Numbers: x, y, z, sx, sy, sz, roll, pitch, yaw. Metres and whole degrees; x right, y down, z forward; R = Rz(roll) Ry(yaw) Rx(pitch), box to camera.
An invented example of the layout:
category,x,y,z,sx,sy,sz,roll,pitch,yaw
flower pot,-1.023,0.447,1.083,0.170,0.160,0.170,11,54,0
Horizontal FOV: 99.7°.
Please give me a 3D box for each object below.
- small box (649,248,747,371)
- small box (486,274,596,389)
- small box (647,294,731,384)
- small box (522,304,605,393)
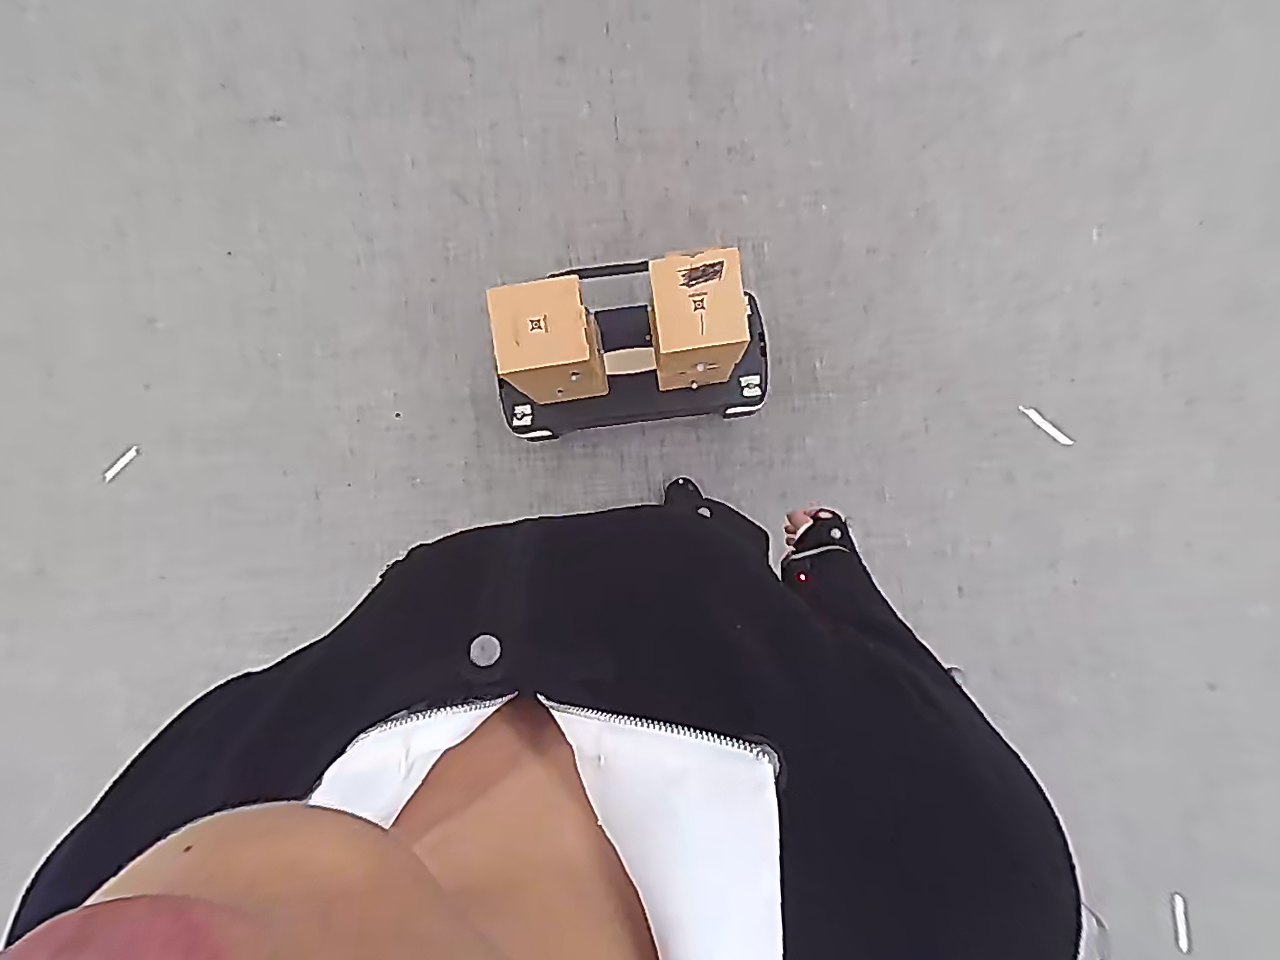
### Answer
category,x,y,z,sx,sy,sz,roll,pitch,yaw
small box,0.108,-0.329,1.071,0.168,0.176,0.179,-8,89,3
small box,-0.188,-0.289,1.084,0.179,0.176,0.168,-9,87,2
small box,0.107,-0.320,1.235,0.168,0.176,0.179,-8,89,3
small box,-0.181,-0.286,1.248,0.179,0.176,0.168,-9,88,3
